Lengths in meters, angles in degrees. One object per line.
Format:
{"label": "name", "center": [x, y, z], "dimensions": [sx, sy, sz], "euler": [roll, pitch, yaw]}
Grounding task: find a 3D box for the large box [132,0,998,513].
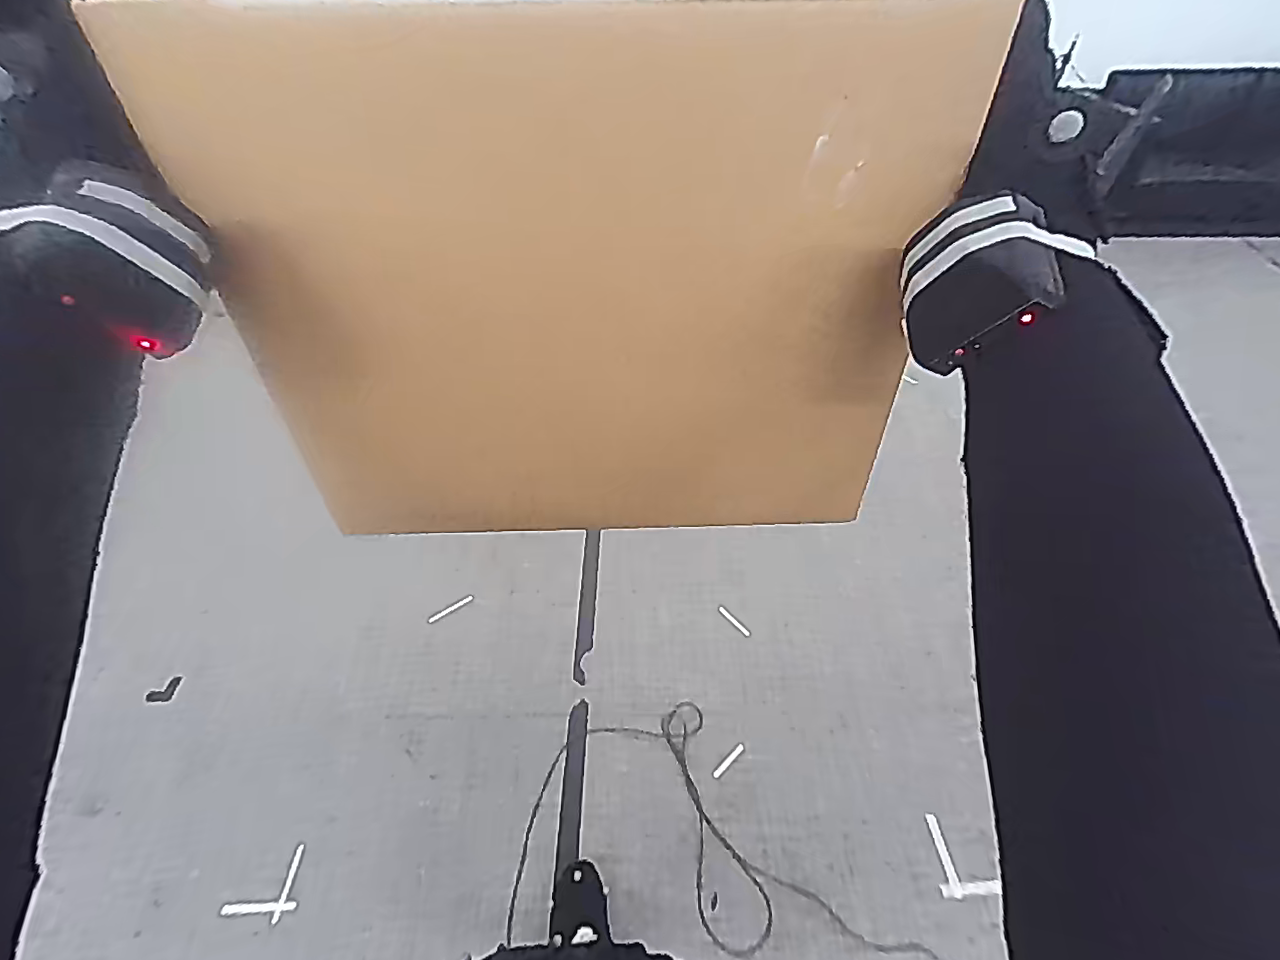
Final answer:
{"label": "large box", "center": [-0.036, -0.187, 0.452], "dimensions": [0.408, 0.320, 0.320], "euler": [-1, 39, -2]}
